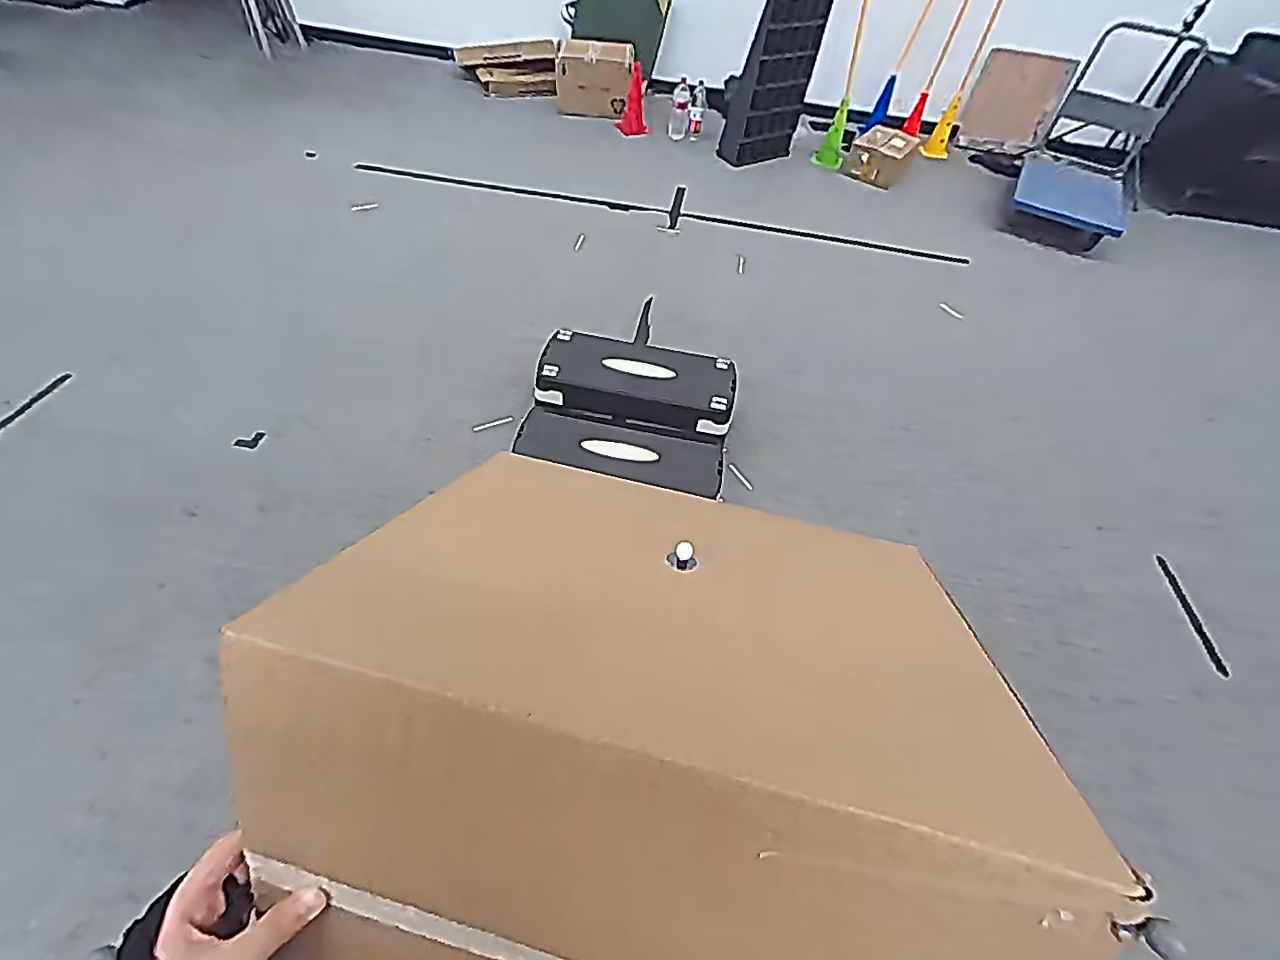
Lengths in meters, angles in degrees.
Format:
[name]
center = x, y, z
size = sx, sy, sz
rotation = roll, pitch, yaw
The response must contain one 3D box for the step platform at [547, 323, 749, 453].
[step platform]
center = 0.029, -0.326, 1.883
size = 0.684, 0.204, 0.286
rotation = 16, 52, 5
